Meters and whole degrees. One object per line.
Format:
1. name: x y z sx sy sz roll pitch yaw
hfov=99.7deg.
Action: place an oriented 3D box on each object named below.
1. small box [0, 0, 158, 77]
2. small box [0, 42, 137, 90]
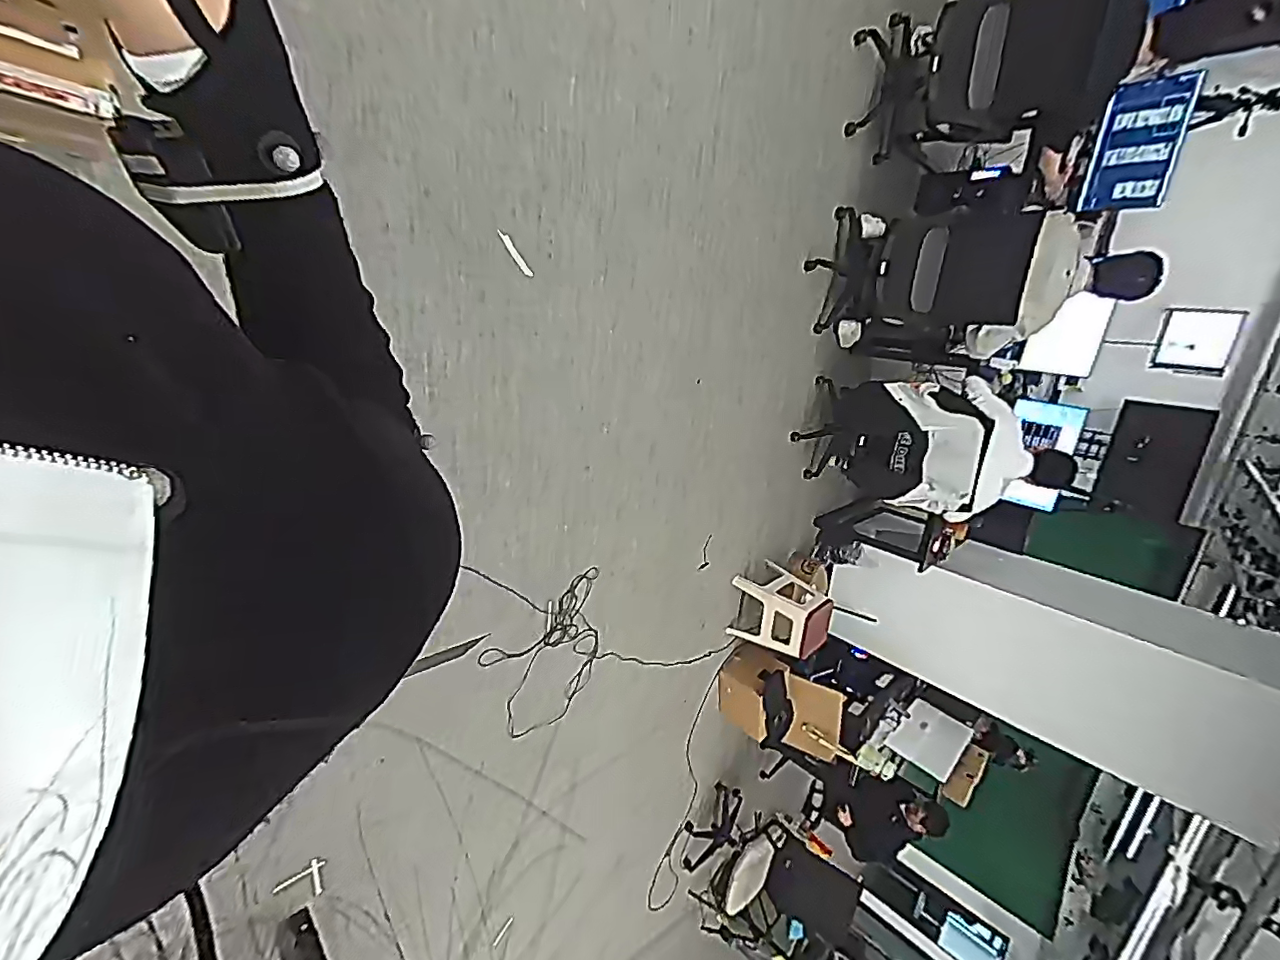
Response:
1. small box: -0.527 -0.474 0.445 0.168 0.176 0.179 -10 115 -47
2. small box: -0.650 -0.521 0.544 0.179 0.176 0.168 -14 117 -45
